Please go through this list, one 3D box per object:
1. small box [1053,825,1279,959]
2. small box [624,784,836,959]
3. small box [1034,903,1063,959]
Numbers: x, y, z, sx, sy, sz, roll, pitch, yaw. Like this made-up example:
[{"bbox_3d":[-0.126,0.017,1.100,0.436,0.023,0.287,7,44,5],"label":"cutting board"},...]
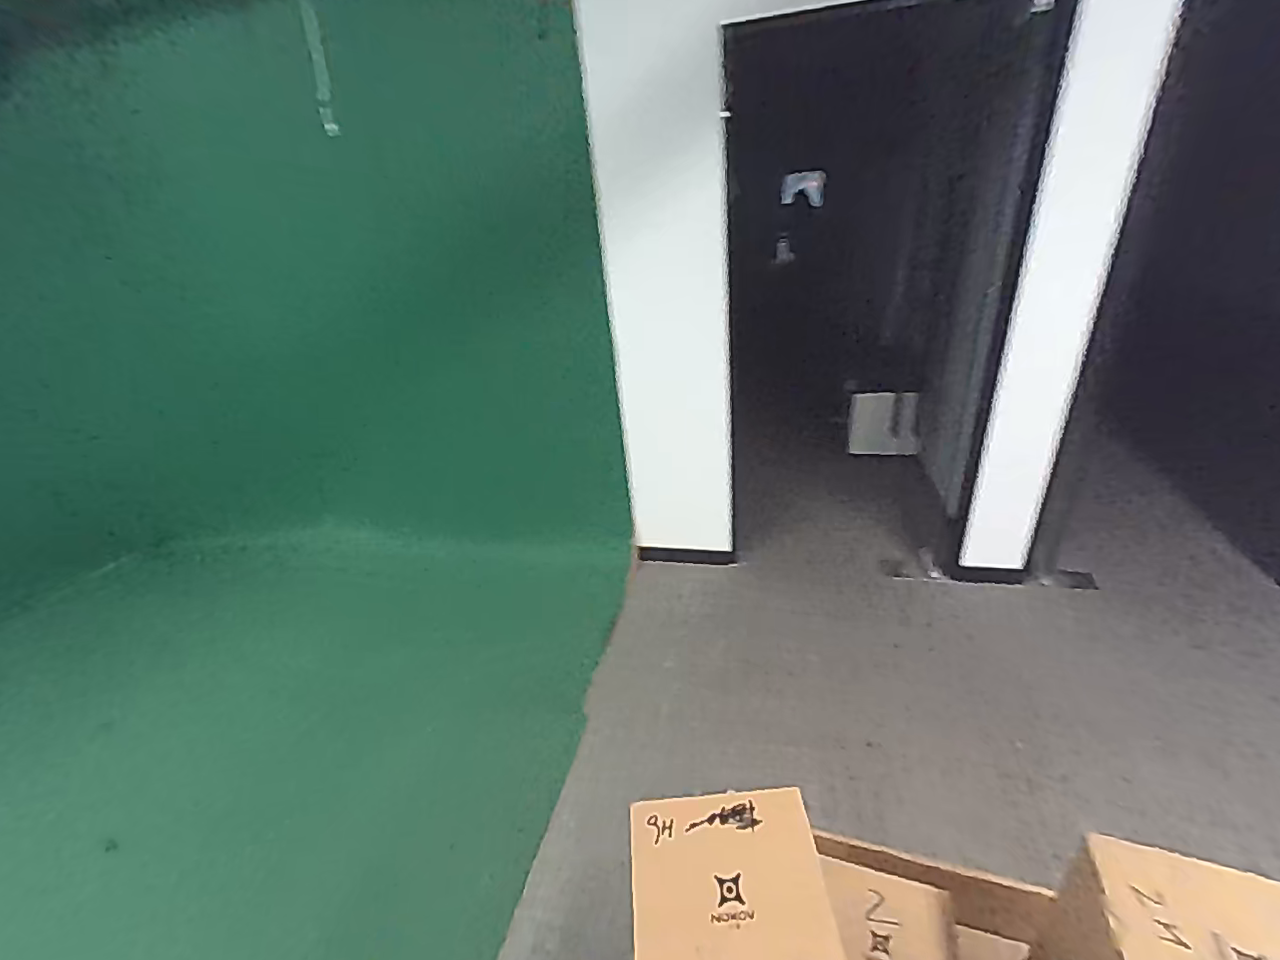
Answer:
[{"bbox_3d":[0.510,0.463,0.485,0.179,0.176,0.168,5,29,24],"label":"small box"},{"bbox_3d":[0.079,0.416,0.498,0.168,0.176,0.179,-7,36,1],"label":"small box"},{"bbox_3d":[0.531,0.607,0.564,0.168,0.176,0.179,4,30,22],"label":"small box"}]
